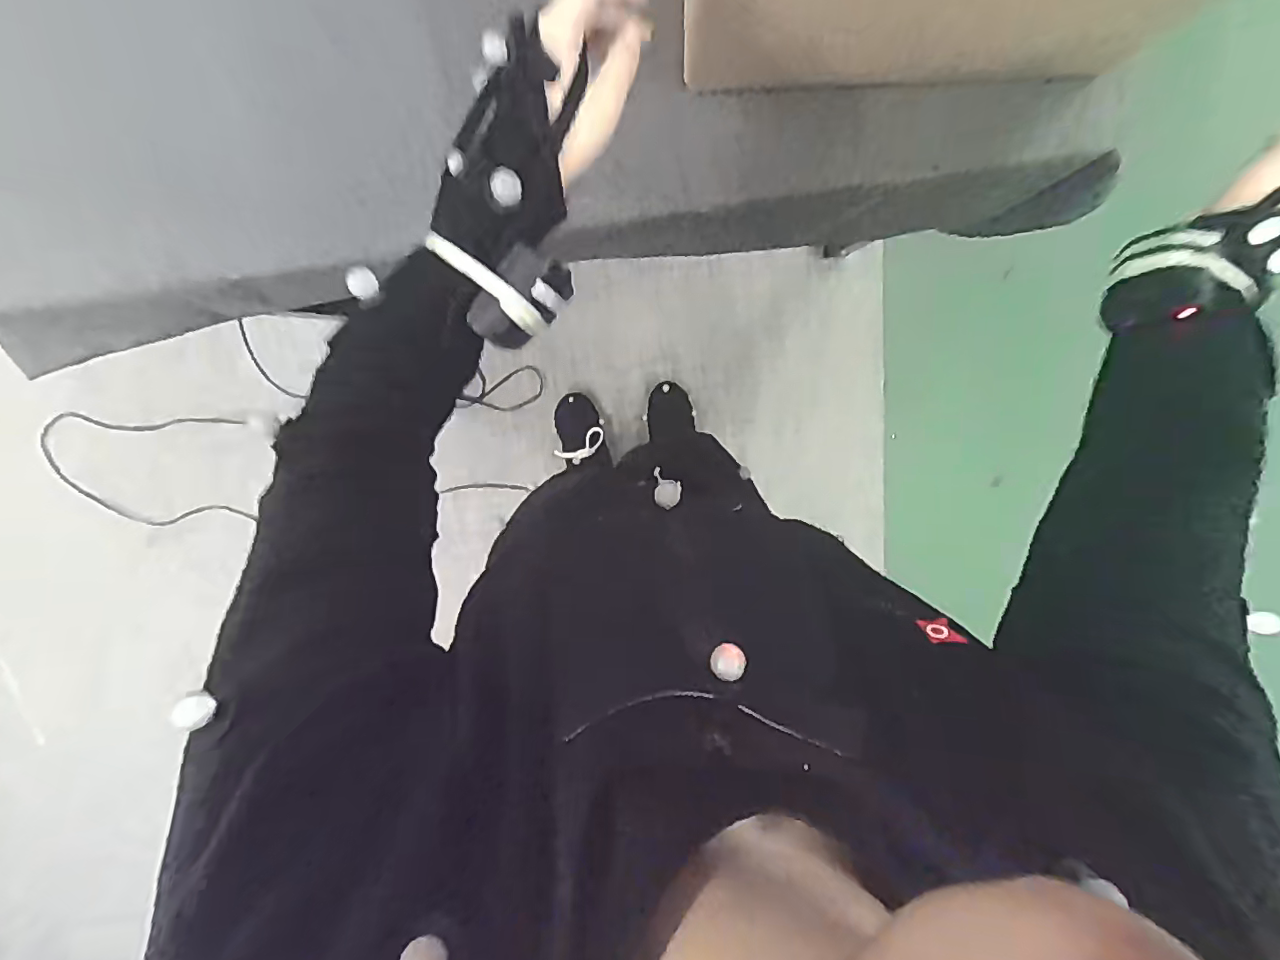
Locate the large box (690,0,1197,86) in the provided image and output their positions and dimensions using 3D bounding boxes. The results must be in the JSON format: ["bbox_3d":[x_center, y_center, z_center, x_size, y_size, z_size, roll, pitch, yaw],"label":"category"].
[{"bbox_3d":[0.238,-0.503,0.345,0.408,0.320,0.320,-1,104,1],"label":"large box"}]
